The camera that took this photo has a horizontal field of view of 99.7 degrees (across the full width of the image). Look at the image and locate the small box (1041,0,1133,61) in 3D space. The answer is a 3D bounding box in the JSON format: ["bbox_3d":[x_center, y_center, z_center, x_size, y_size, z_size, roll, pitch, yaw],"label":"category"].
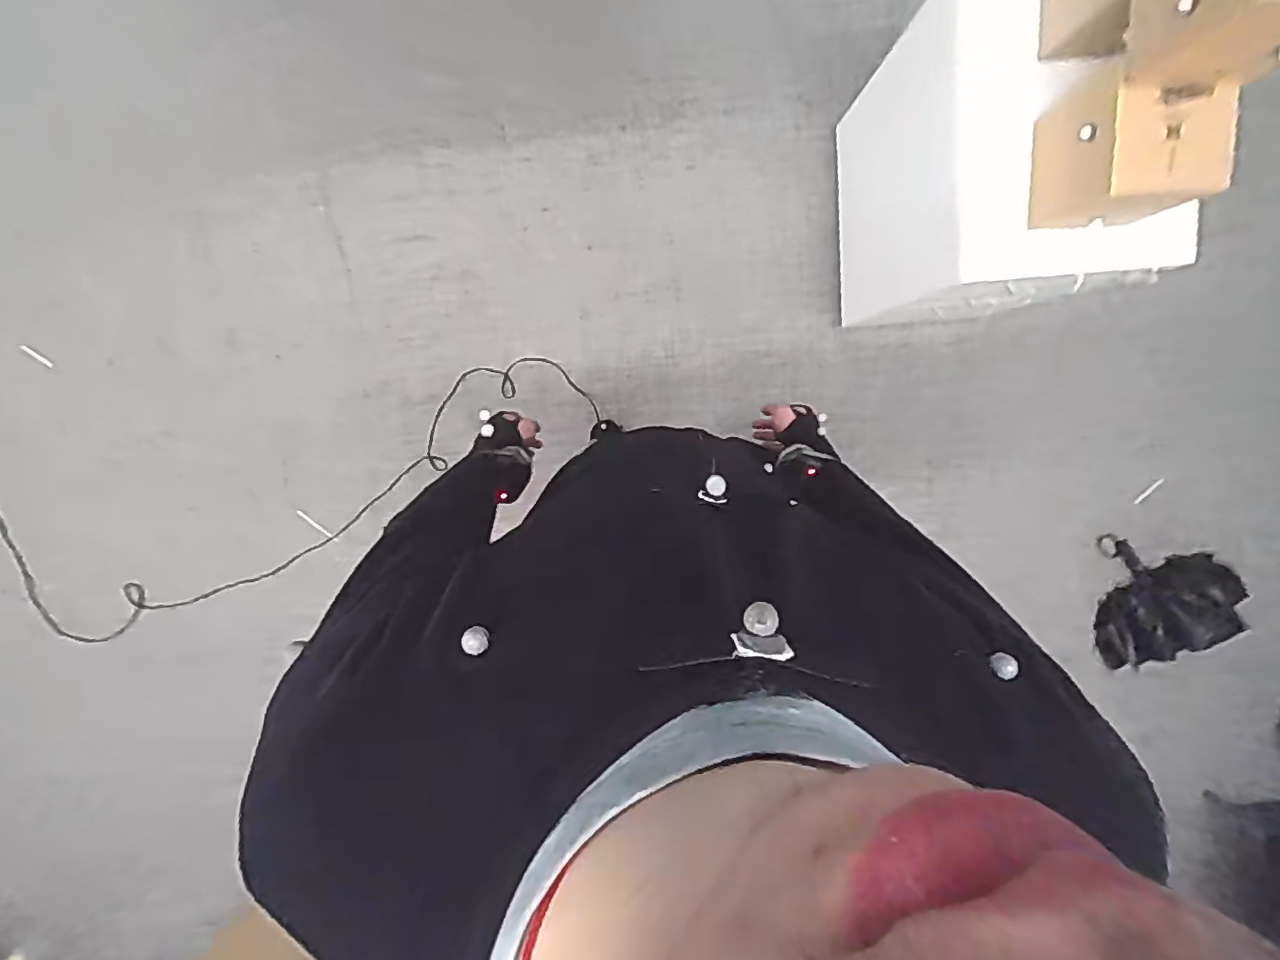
[{"bbox_3d":[0.719,-0.741,0.778,0.168,0.176,0.179,-4,100,0],"label":"small box"}]

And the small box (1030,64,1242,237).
[{"bbox_3d":[0.727,-0.484,0.813,0.168,0.176,0.179,-2,98,1],"label":"small box"}]

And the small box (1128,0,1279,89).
[{"bbox_3d":[0.728,-0.594,0.635,0.168,0.176,0.179,-2,97,-1],"label":"small box"}]
